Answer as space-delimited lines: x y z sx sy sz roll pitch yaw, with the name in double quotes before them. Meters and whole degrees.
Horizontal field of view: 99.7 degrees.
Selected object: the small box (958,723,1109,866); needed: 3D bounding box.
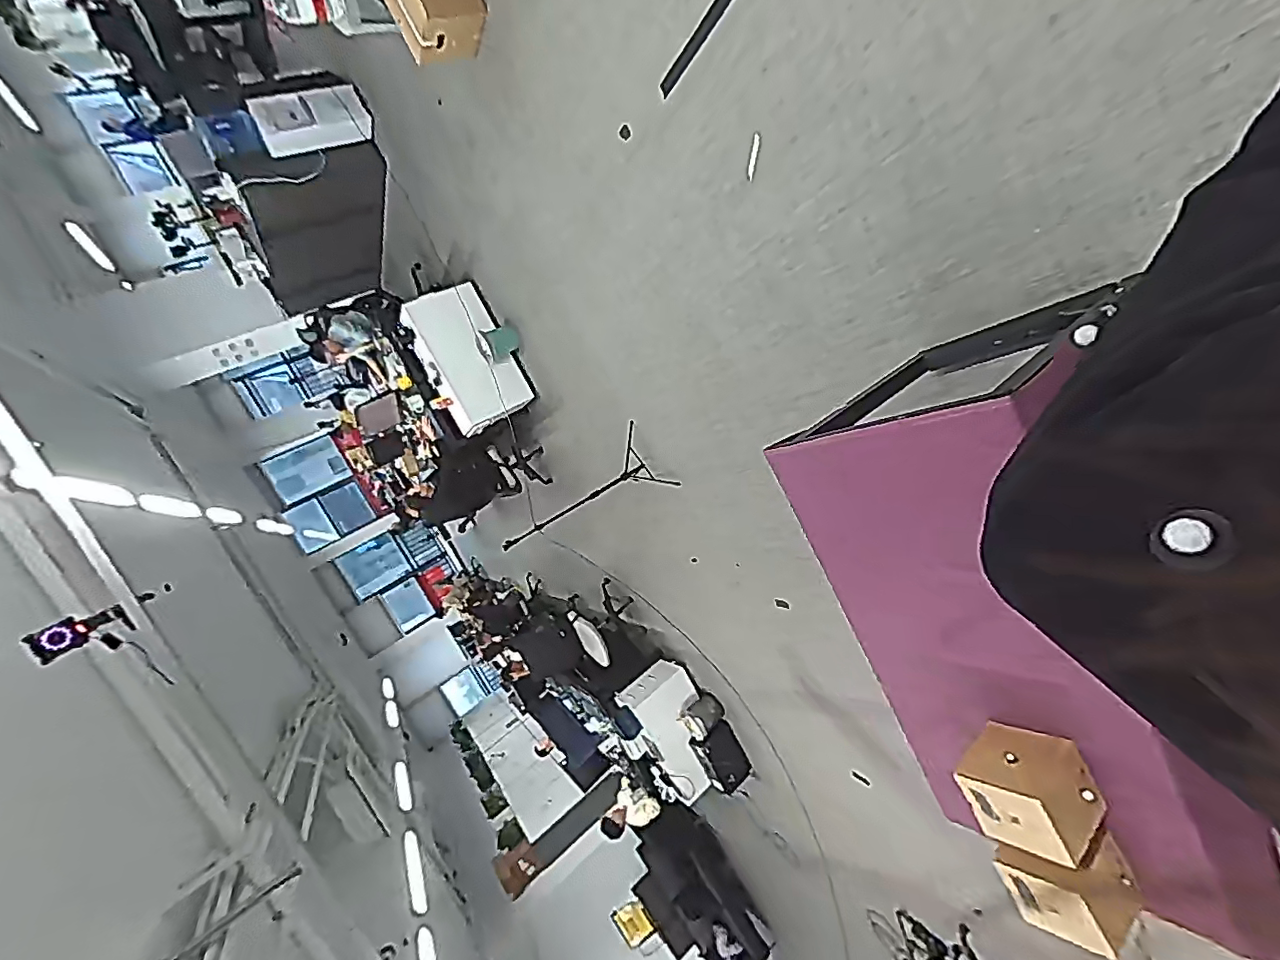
"small box" 0.822 0.643 1.134 0.168 0.176 0.179 60 153 -4
